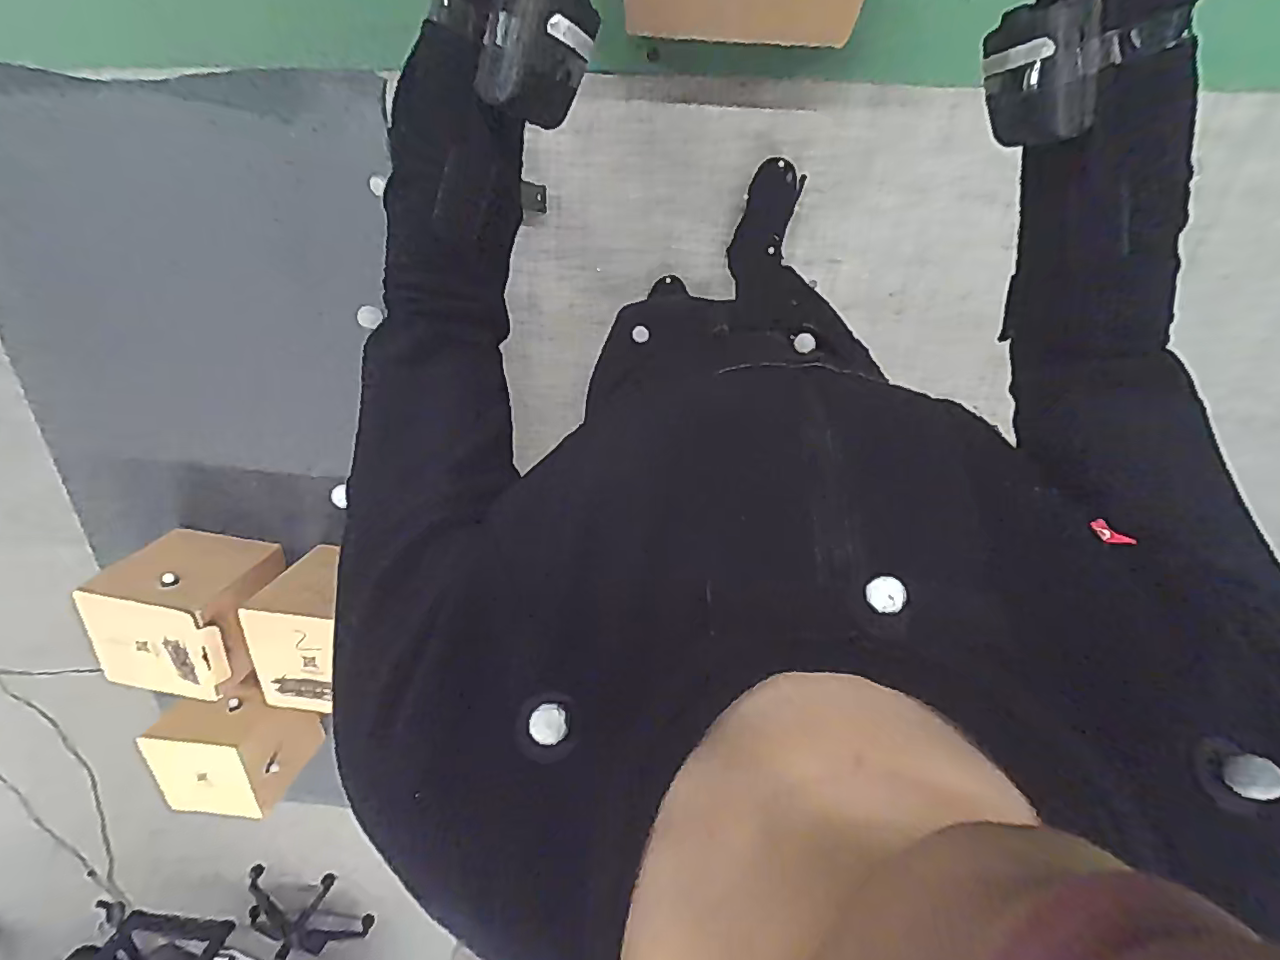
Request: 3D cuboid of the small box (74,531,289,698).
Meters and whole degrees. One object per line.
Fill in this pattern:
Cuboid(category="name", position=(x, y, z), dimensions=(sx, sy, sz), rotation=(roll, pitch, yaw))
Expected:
Cuboid(category="small box", position=(-0.668, 0.195, 0.819), dimensions=(0.179, 0.176, 0.168), rotation=(10, 115, 3))
